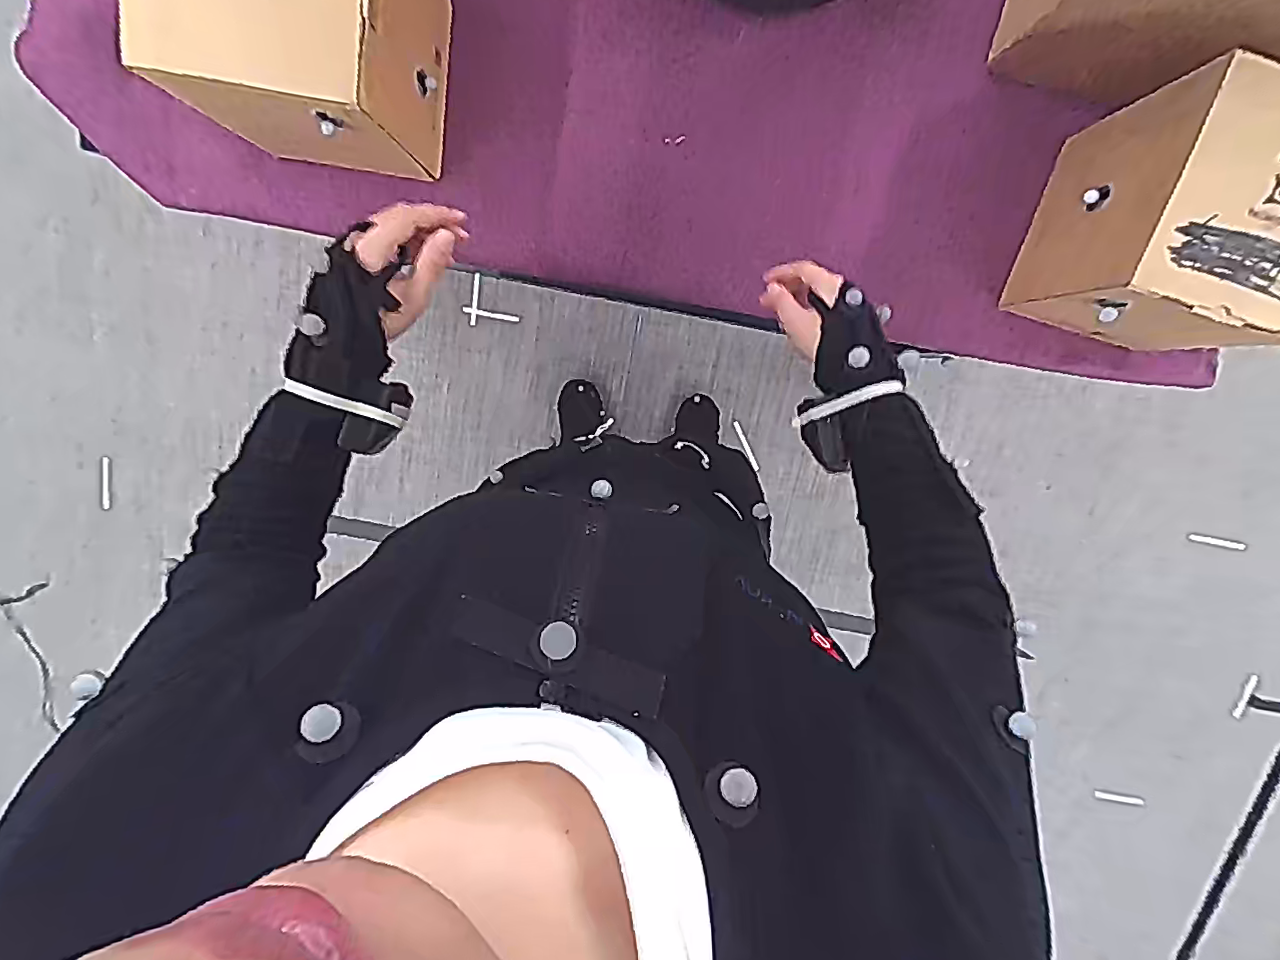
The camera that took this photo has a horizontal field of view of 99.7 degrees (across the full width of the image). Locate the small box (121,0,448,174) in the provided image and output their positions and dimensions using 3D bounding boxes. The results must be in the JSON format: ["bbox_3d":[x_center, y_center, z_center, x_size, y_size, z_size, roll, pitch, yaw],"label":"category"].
[{"bbox_3d":[-0.285,-0.388,0.465,0.179,0.176,0.168,8,101,-3],"label":"small box"}]
